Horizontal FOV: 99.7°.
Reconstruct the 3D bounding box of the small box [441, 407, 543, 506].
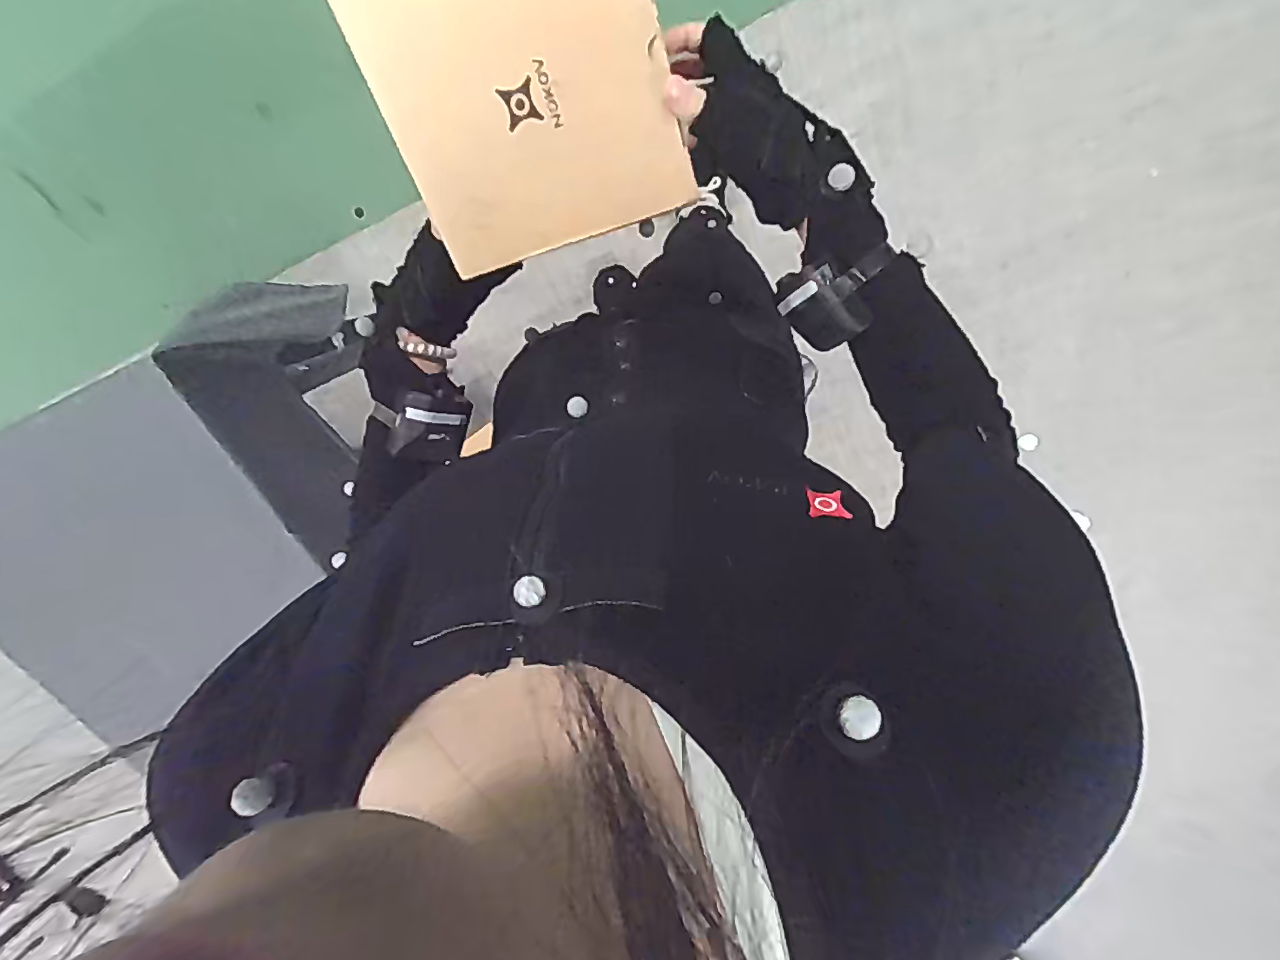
[{"bbox_3d":[-0.383,-0.067,1.437,0.179,0.176,0.168,-32,109,16],"label":"small box"}]
